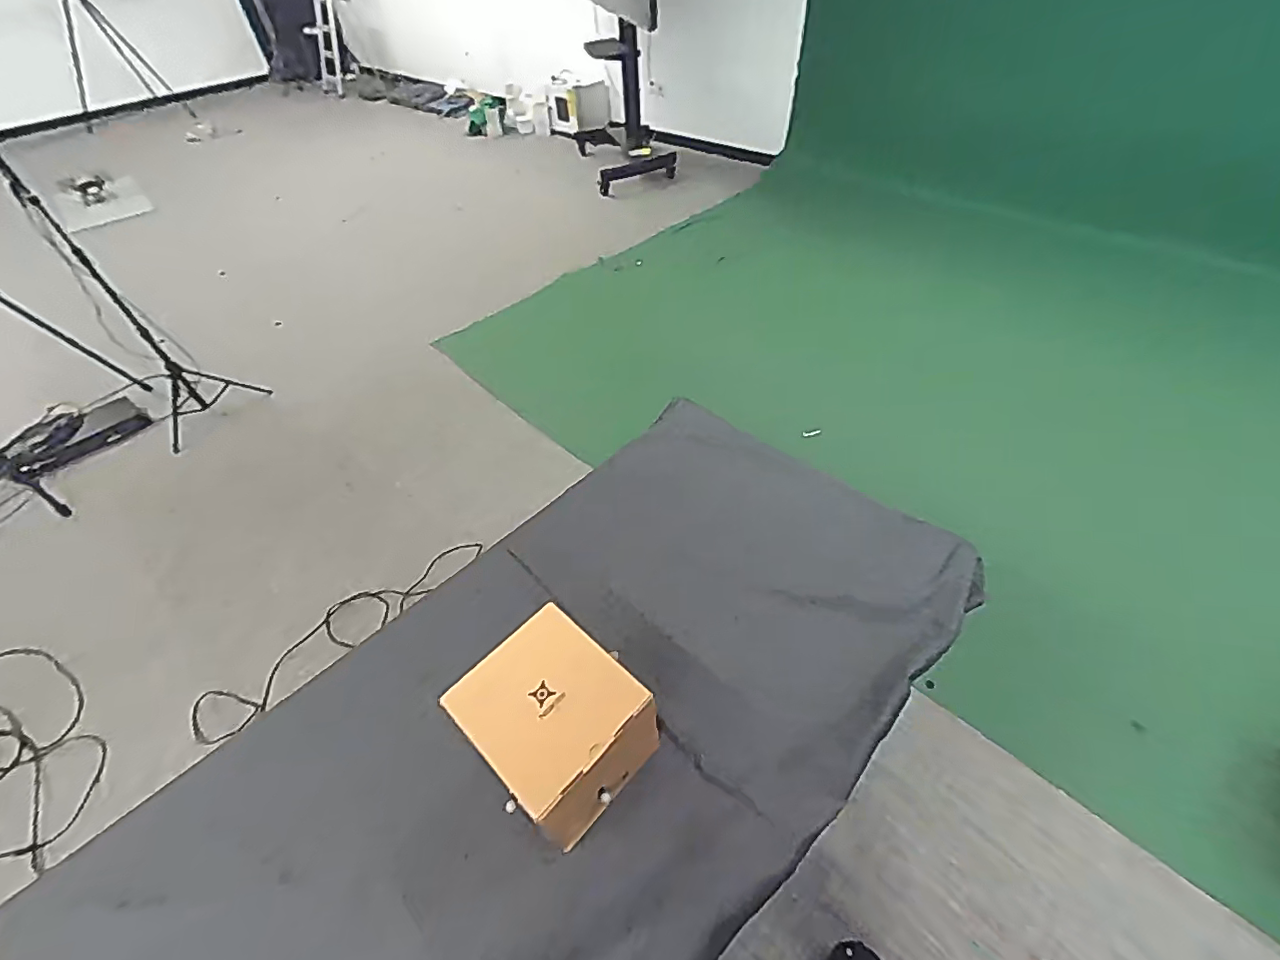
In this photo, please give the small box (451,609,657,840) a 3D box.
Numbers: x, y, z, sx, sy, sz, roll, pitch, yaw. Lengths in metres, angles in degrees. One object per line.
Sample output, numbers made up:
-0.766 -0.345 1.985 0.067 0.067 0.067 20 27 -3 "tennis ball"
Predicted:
-0.096 0.301 0.665 0.179 0.176 0.168 33 58 29 "small box"
